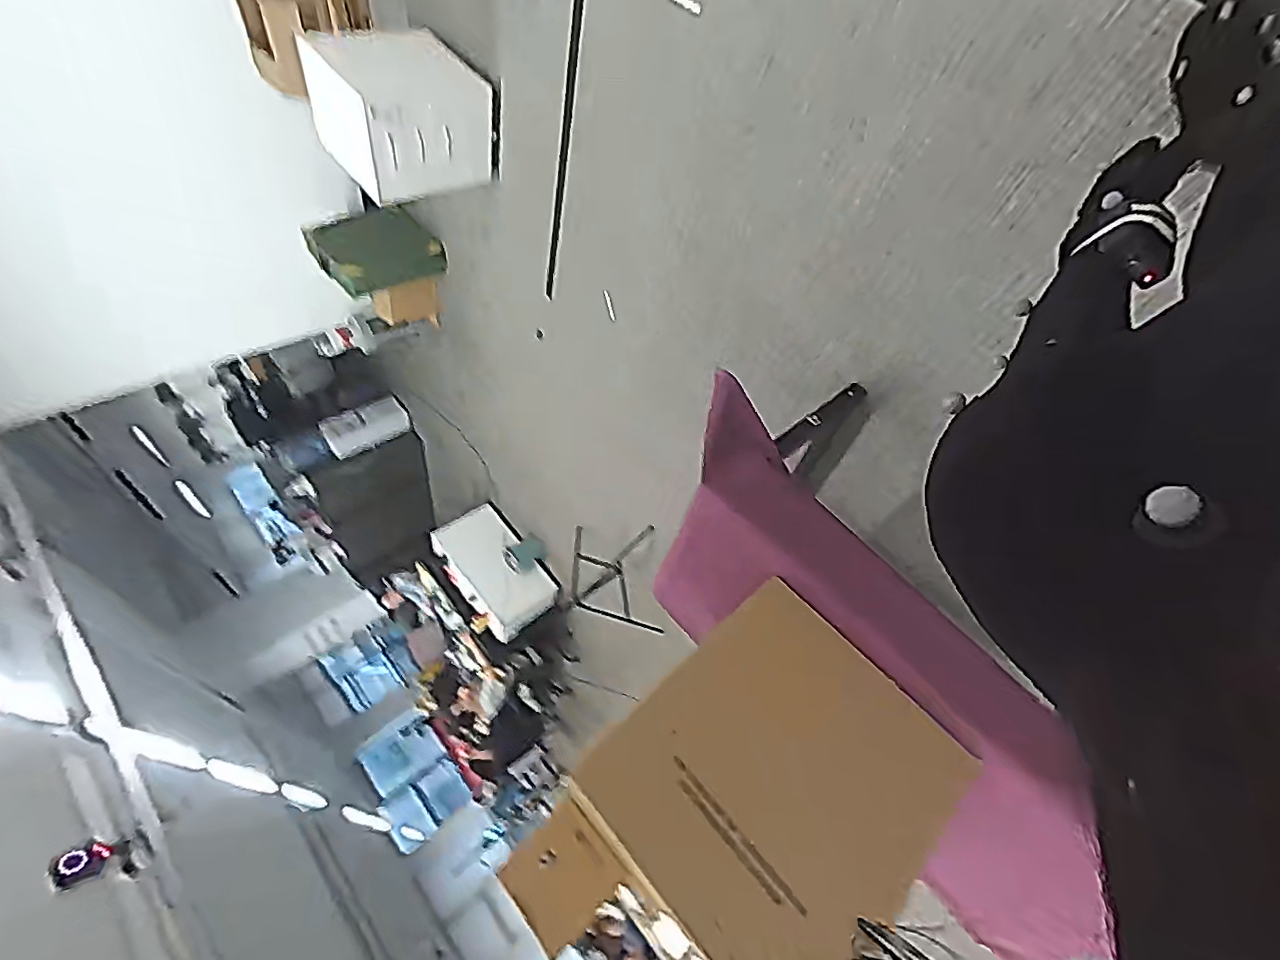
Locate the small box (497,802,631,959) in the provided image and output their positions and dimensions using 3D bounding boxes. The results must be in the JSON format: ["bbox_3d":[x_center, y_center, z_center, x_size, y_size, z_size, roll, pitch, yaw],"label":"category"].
[{"bbox_3d":[-0.135,0.715,0.969,0.168,0.176,0.179,43,146,24],"label":"small box"}]
